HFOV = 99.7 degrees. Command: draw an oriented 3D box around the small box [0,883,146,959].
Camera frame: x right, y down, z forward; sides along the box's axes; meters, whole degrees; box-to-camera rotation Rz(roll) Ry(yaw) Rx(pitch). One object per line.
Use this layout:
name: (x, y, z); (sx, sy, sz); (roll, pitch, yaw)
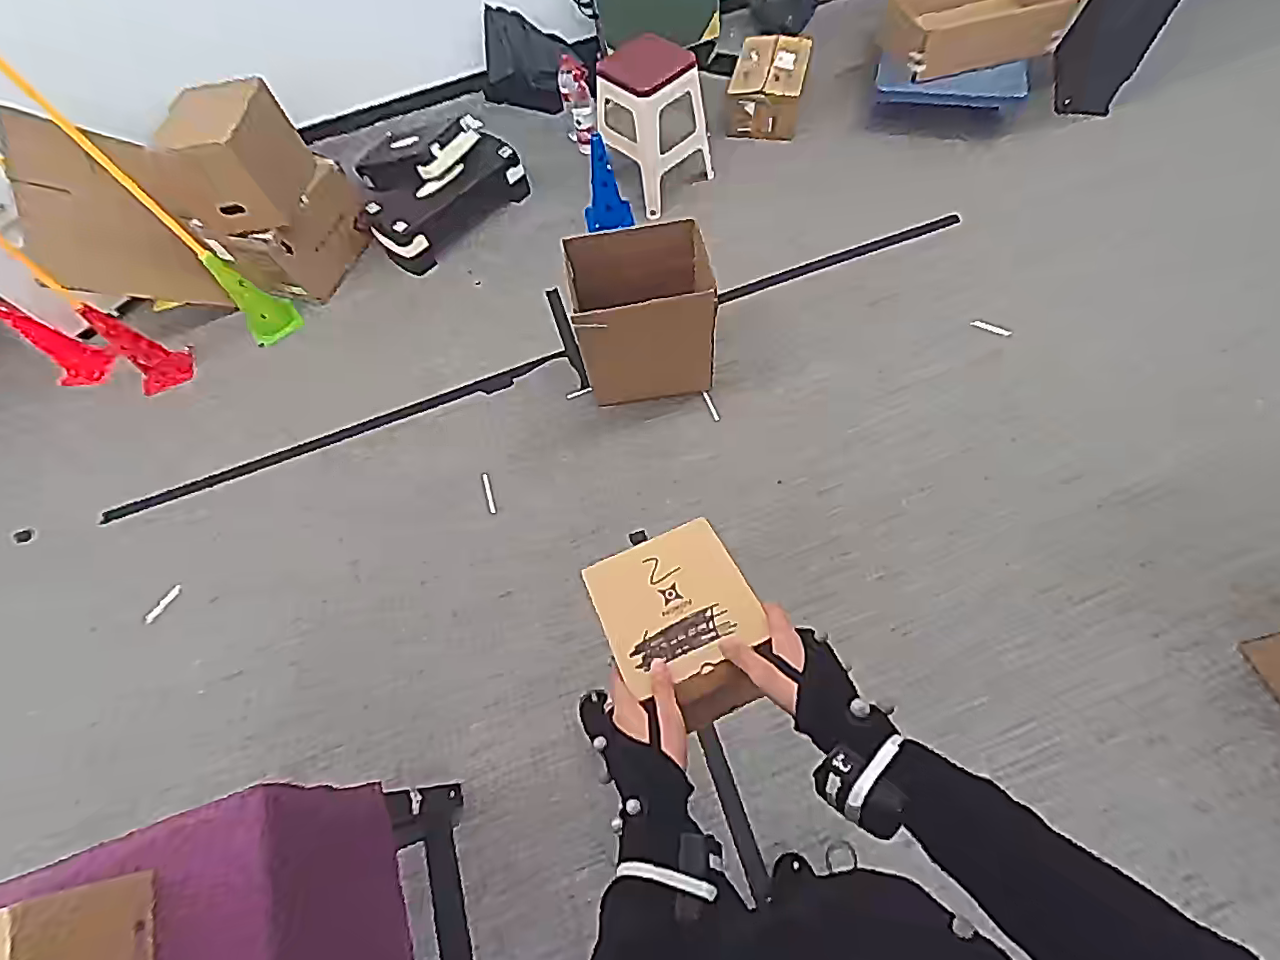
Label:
small box: (-0.715, 0.600, 0.614); (0.179, 0.176, 0.168); (-25, 64, -5)
